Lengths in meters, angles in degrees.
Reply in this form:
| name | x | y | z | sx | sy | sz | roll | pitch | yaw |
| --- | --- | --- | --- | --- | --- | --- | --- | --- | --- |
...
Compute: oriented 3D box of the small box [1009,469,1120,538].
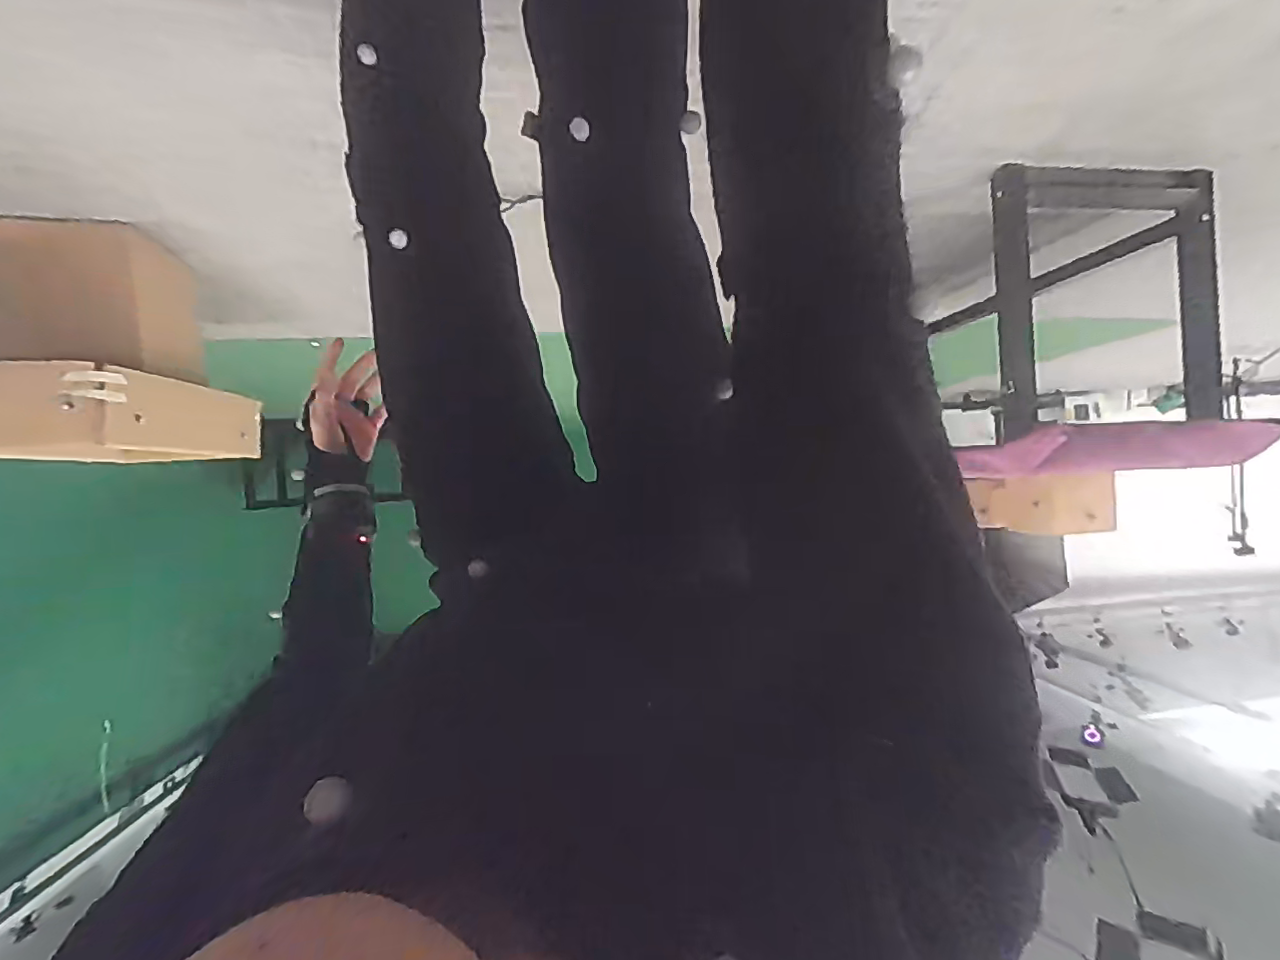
| name | x | y | z | sx | sy | sz | roll | pitch | yaw |
| --- | --- | --- | --- | --- | --- | --- | --- | --- | --- |
| small box | 1.131 | 0.061 | 1.454 | 0.179 | 0.176 | 0.168 | -3 | 179 | -5 |
